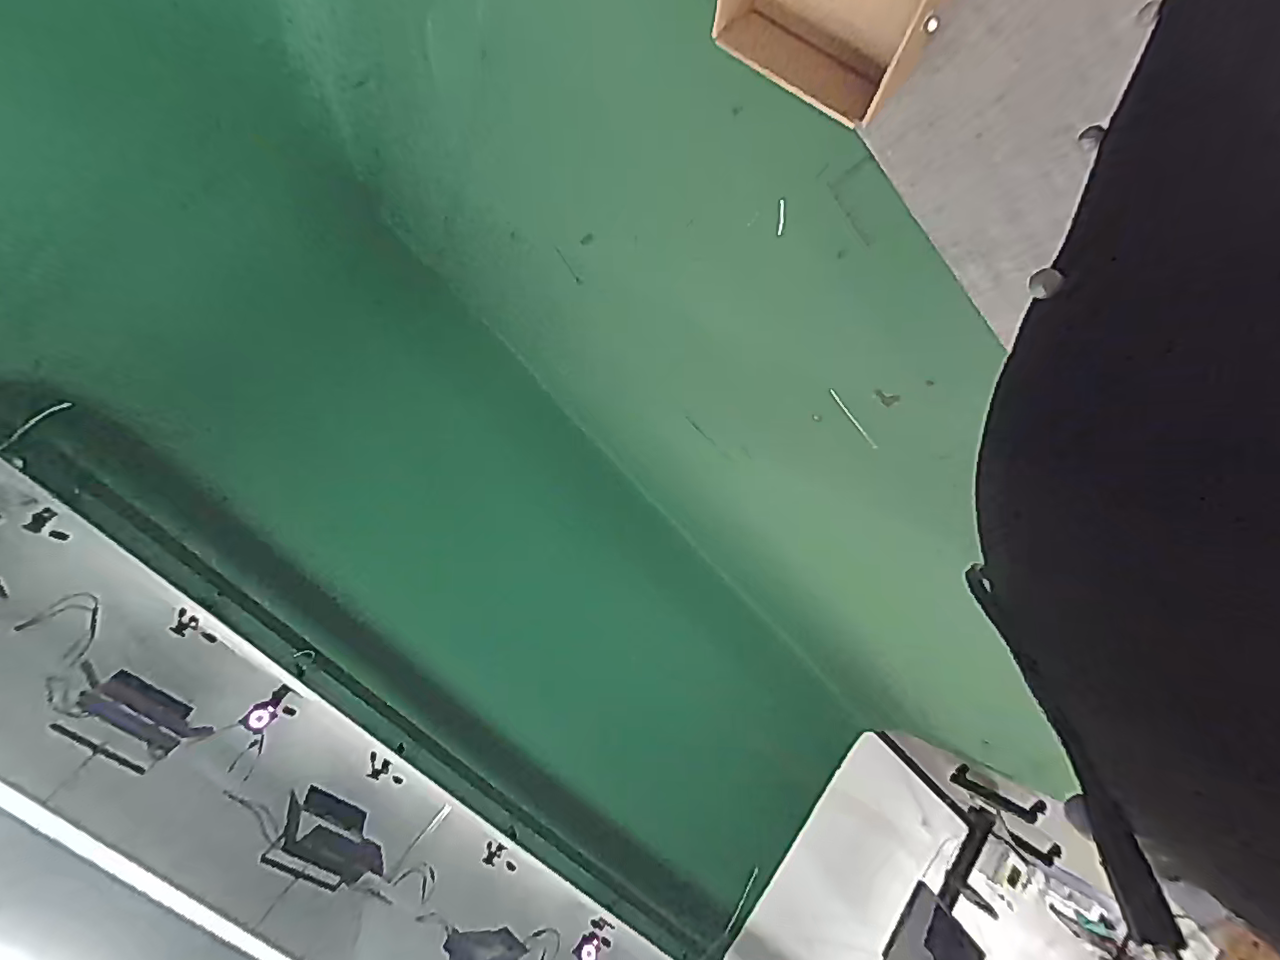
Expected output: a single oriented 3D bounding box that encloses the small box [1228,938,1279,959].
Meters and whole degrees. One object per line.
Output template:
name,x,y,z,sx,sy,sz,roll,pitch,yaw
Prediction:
small box,1.632,1.330,1.370,0.179,0.176,0.168,44,163,-10
